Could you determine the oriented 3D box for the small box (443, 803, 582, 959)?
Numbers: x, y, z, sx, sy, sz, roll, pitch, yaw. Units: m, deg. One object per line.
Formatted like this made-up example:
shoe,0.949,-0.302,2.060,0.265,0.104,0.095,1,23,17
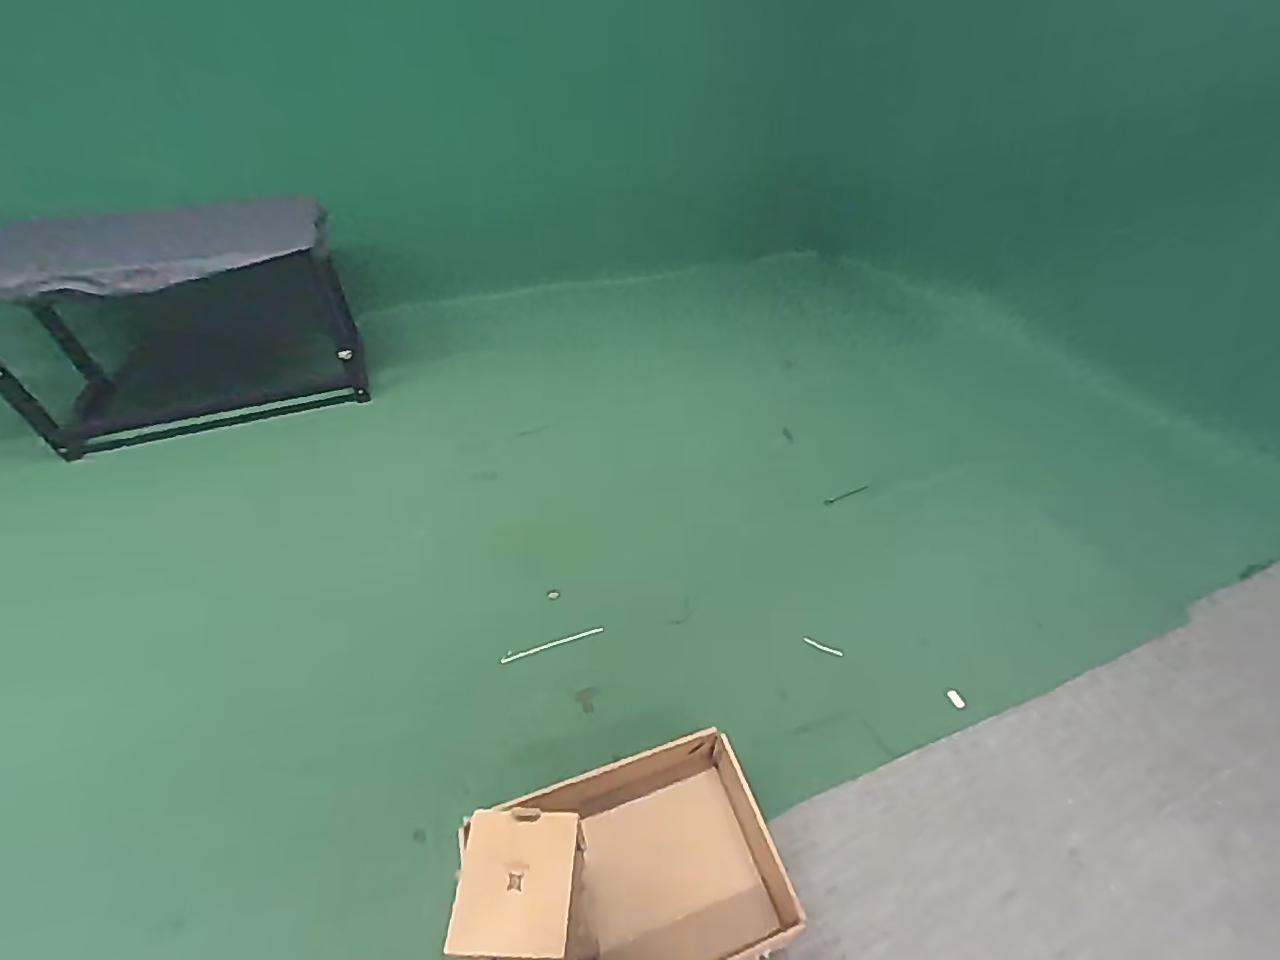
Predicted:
small box,-0.181,0.624,0.834,0.168,0.176,0.179,2,43,0
